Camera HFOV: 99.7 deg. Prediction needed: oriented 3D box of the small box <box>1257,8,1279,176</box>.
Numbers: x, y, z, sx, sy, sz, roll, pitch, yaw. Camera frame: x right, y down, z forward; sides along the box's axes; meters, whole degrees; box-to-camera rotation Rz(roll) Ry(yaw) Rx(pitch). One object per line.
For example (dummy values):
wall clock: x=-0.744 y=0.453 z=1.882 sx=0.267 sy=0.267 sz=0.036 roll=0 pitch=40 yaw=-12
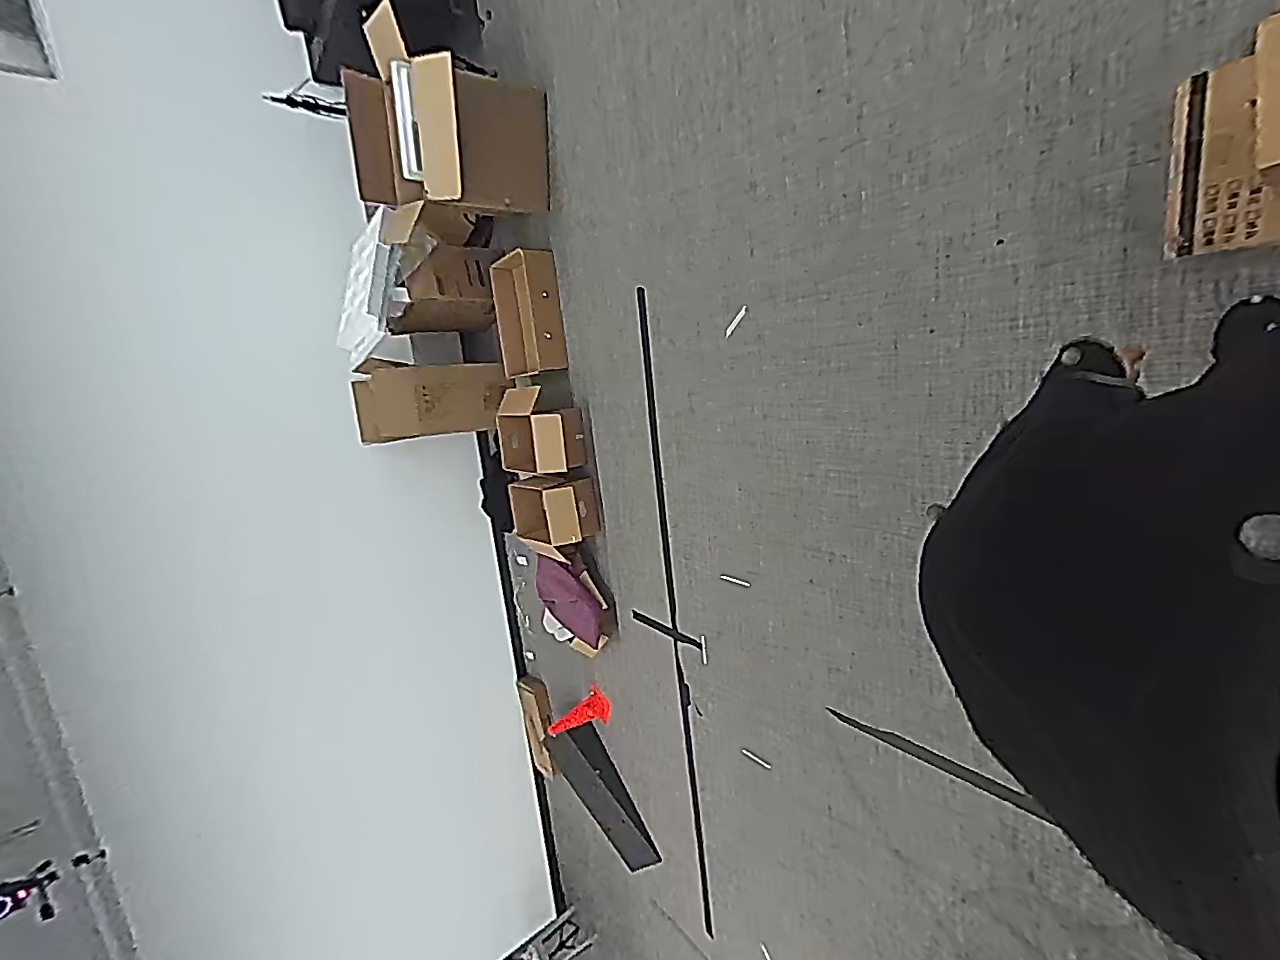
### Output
small box: x=0.879 y=-0.495 z=0.655 sx=0.168 sy=0.176 sz=0.179 roll=0 pitch=102 yaw=53

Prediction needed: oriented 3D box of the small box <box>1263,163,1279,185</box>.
small box: x=1.007 y=-0.530 z=0.752 sx=0.168 sy=0.176 sz=0.179 roll=4 pitch=105 yaw=52
